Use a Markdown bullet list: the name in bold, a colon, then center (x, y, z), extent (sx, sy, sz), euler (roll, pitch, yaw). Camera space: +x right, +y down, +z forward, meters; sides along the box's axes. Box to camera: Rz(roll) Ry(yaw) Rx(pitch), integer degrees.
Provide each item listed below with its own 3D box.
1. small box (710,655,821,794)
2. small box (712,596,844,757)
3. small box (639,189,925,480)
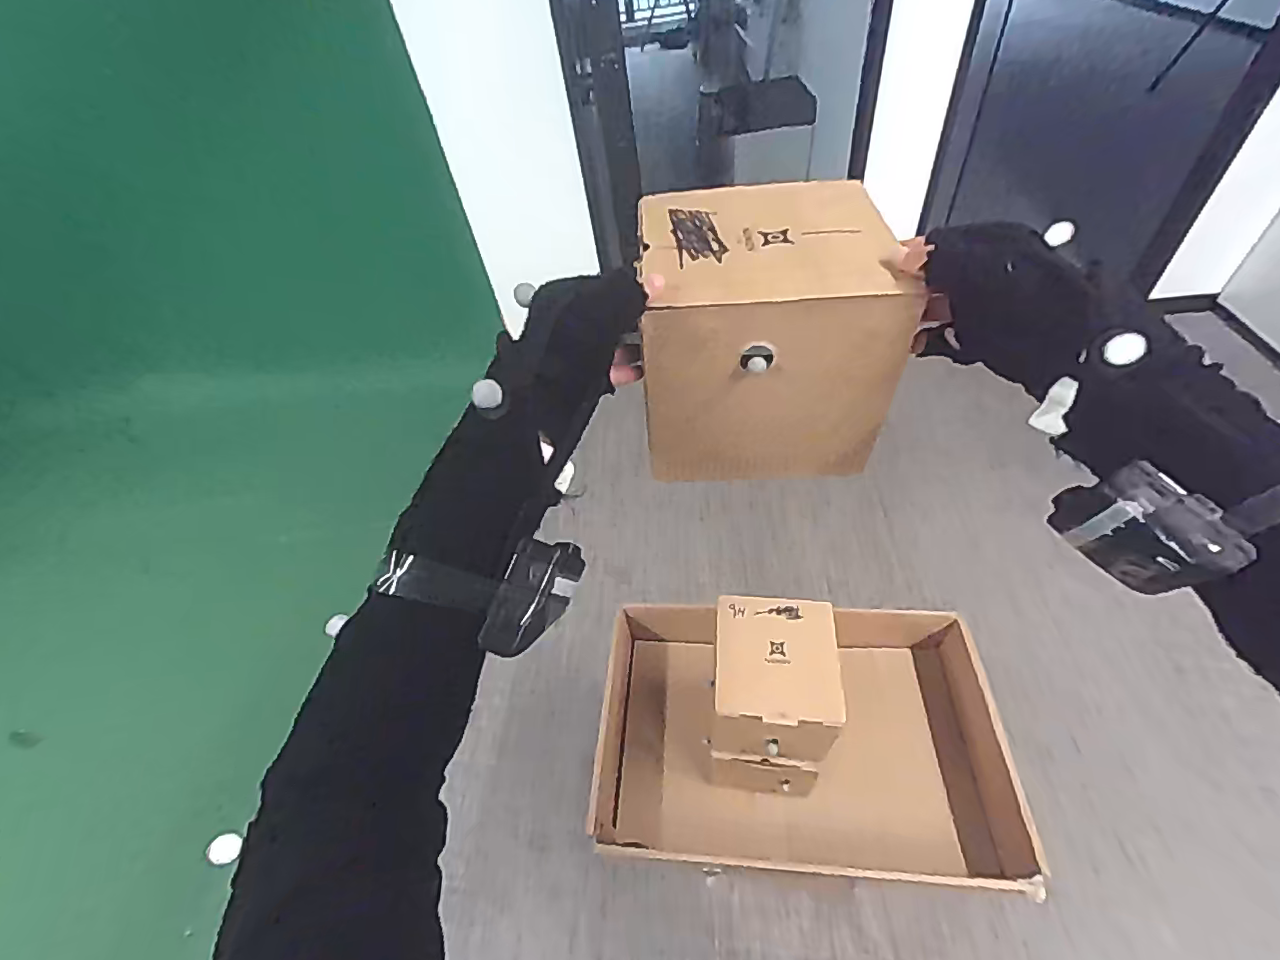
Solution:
- **small box**: center (0.206, 0.412, 0.918), extent (0.168, 0.176, 0.179), euler (3, 47, 8)
- **small box**: center (0.195, 0.294, 0.803), extent (0.168, 0.176, 0.179), euler (3, 49, 8)
- **small box**: center (0.093, -0.112, 0.440), extent (0.179, 0.176, 0.168), euler (-2, 49, 3)
